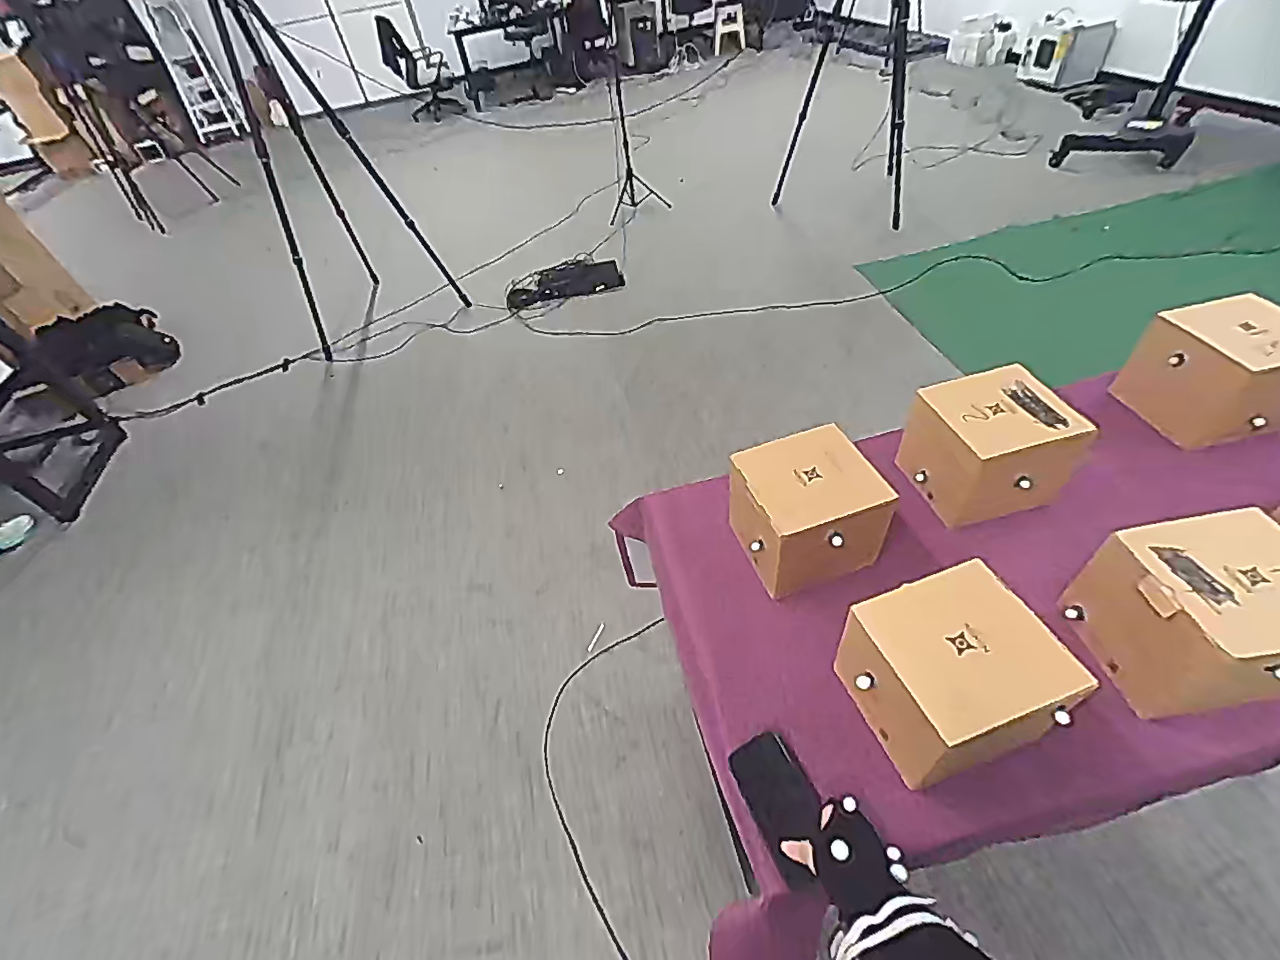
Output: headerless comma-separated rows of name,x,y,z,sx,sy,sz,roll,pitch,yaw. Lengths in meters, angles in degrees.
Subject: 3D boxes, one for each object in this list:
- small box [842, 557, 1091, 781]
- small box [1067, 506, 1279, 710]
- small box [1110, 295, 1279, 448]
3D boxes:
small box,0.361,0.227,0.643,0.179,0.176,0.168,-18,47,-8
small box,0.666,0.158,0.651,0.179,0.176,0.168,-10,47,0
small box,0.962,-0.181,0.910,0.168,0.176,0.179,-12,48,-1
